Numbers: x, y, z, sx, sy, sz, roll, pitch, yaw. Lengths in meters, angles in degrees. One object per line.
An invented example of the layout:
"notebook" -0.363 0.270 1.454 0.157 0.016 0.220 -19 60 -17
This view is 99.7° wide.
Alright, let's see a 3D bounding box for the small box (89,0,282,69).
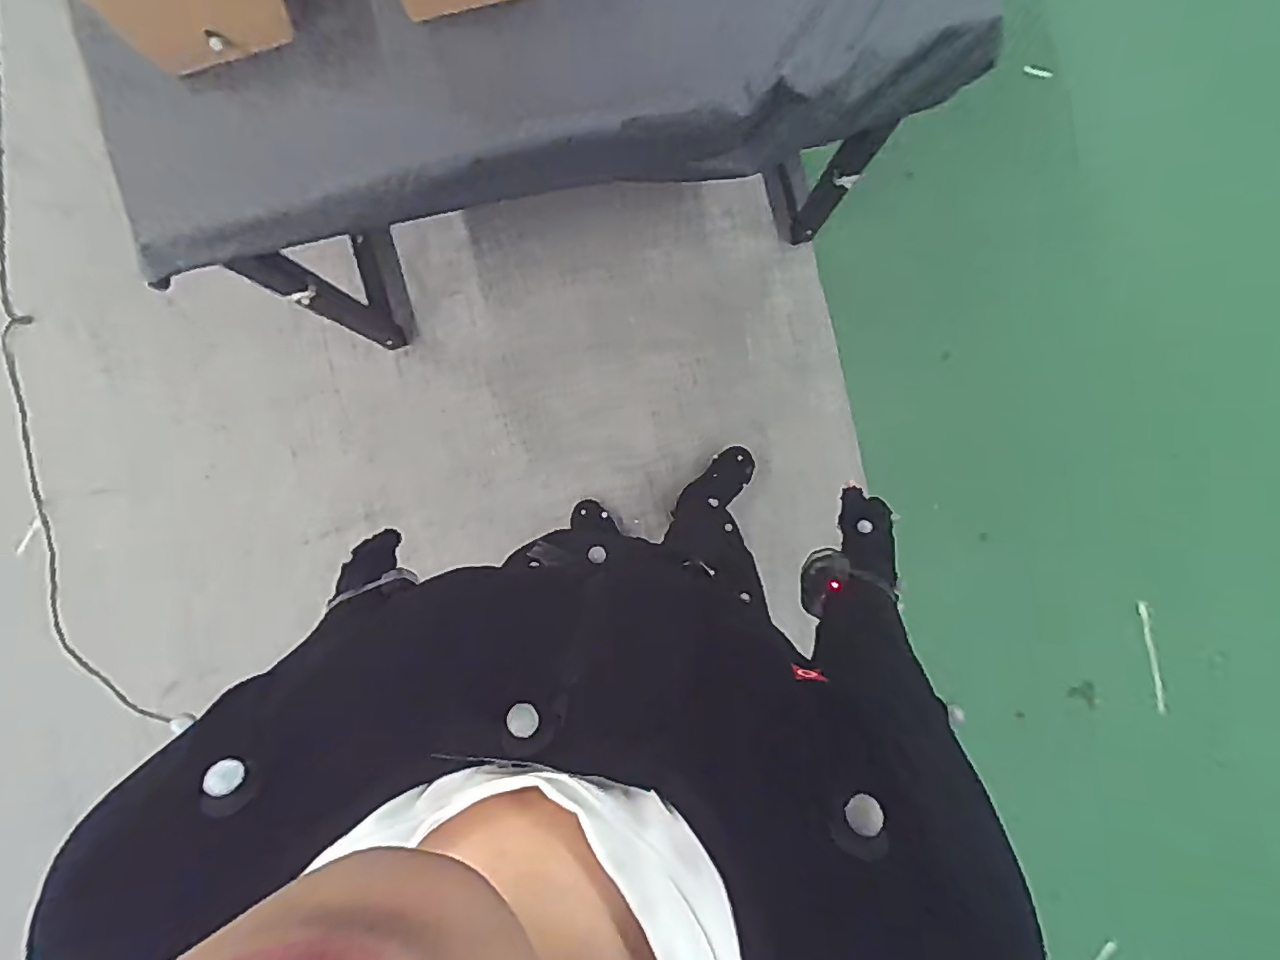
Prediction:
"small box" -0.566 -0.645 0.642 0.179 0.176 0.168 -18 91 -1
